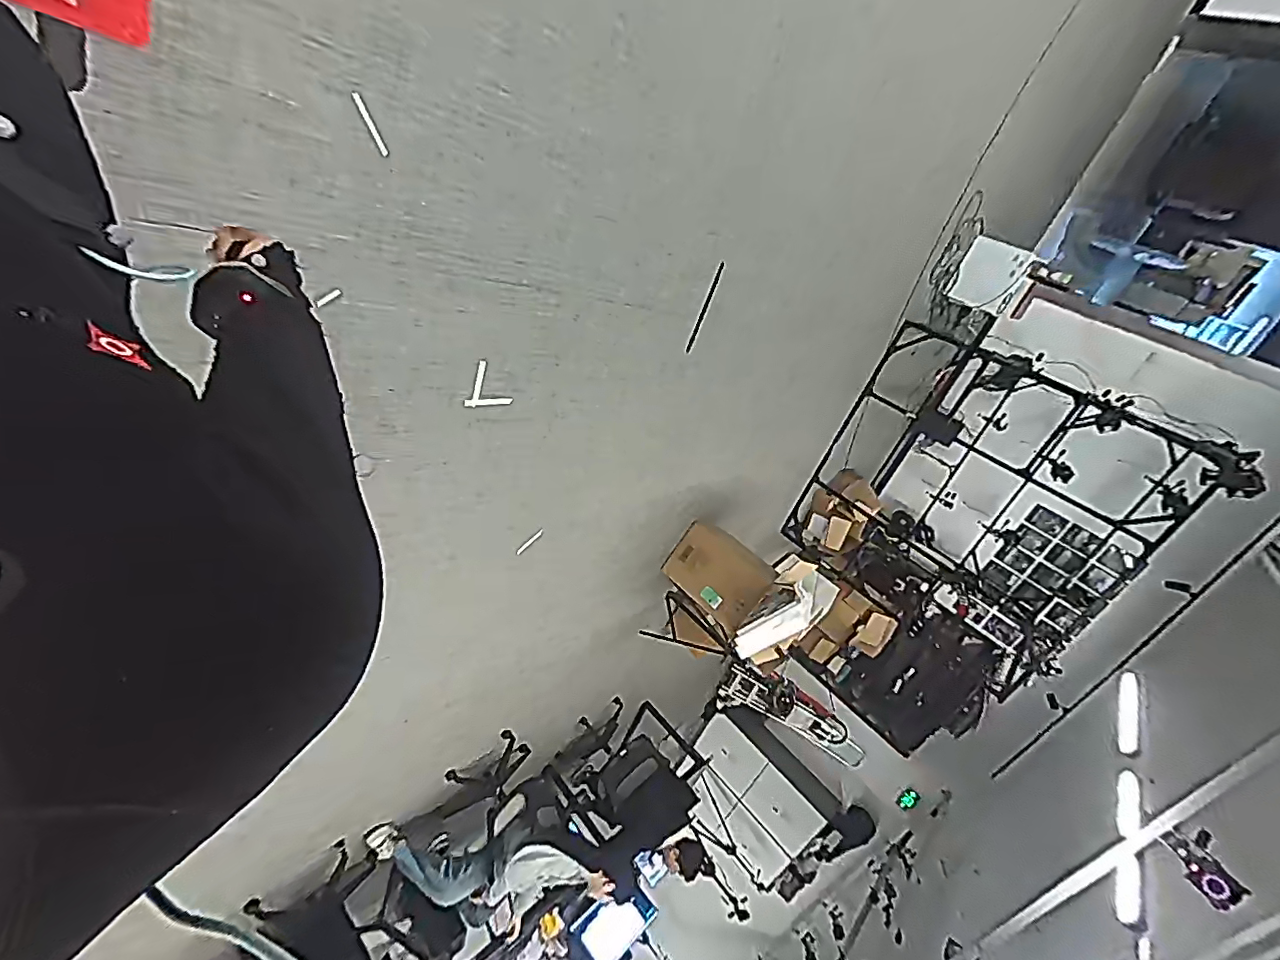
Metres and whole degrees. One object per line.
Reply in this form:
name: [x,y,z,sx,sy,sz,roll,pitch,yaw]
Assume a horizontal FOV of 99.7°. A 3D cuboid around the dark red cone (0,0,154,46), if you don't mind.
dark red cone: [-0.691,-0.647,0.652,0.201,0.394,0.202,-9,131,-48]
